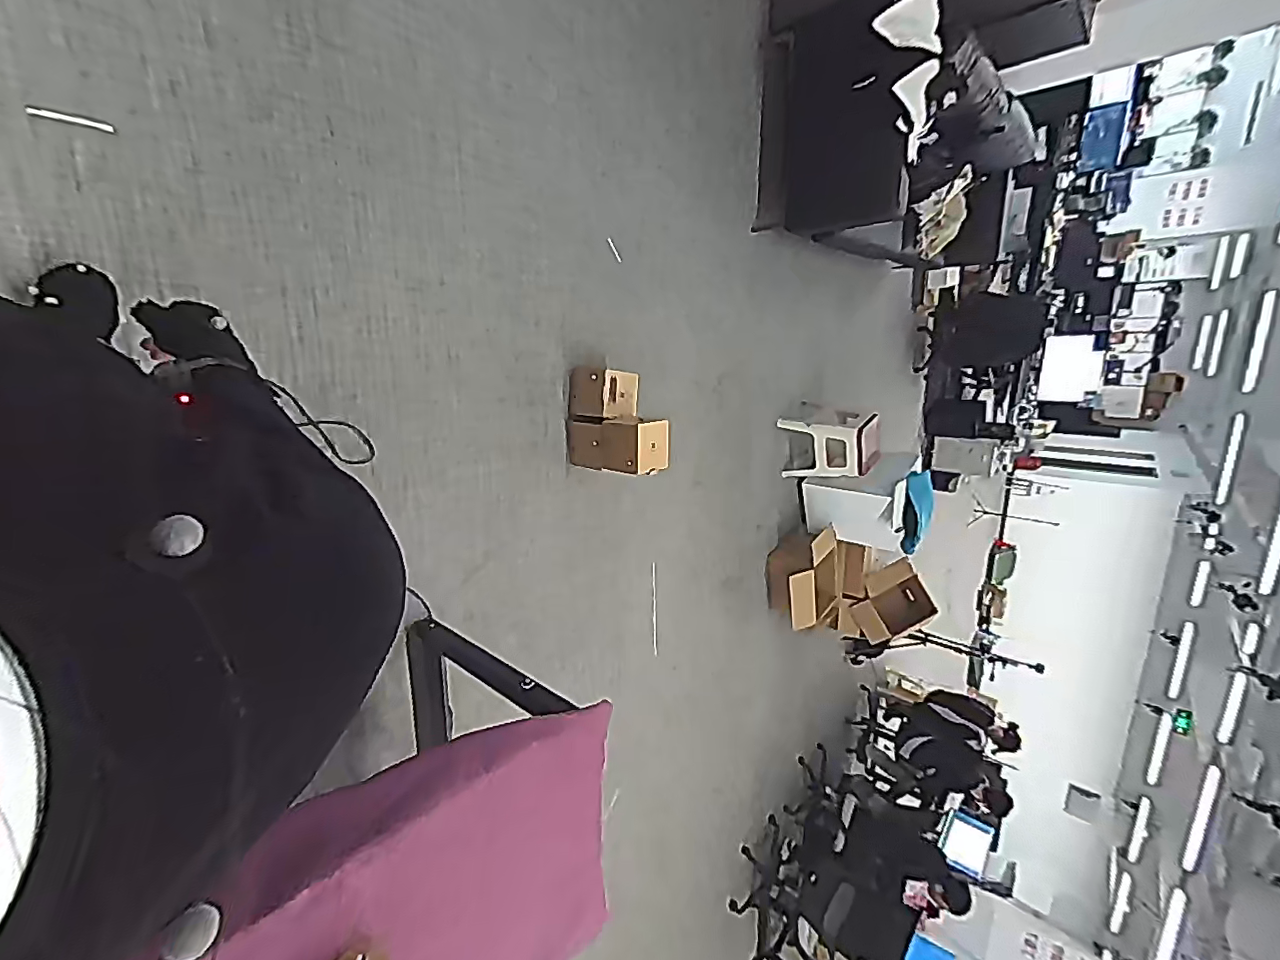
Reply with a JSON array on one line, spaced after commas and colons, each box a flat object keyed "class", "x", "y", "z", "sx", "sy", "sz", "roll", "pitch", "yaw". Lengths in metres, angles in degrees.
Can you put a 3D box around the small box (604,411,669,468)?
[{"class": "small box", "x": -0.015, "y": -0.149, "z": 1.893, "sx": 0.168, "sy": 0.176, "sz": 0.179, "roll": -15, "pitch": 111, "yaw": -46}]
